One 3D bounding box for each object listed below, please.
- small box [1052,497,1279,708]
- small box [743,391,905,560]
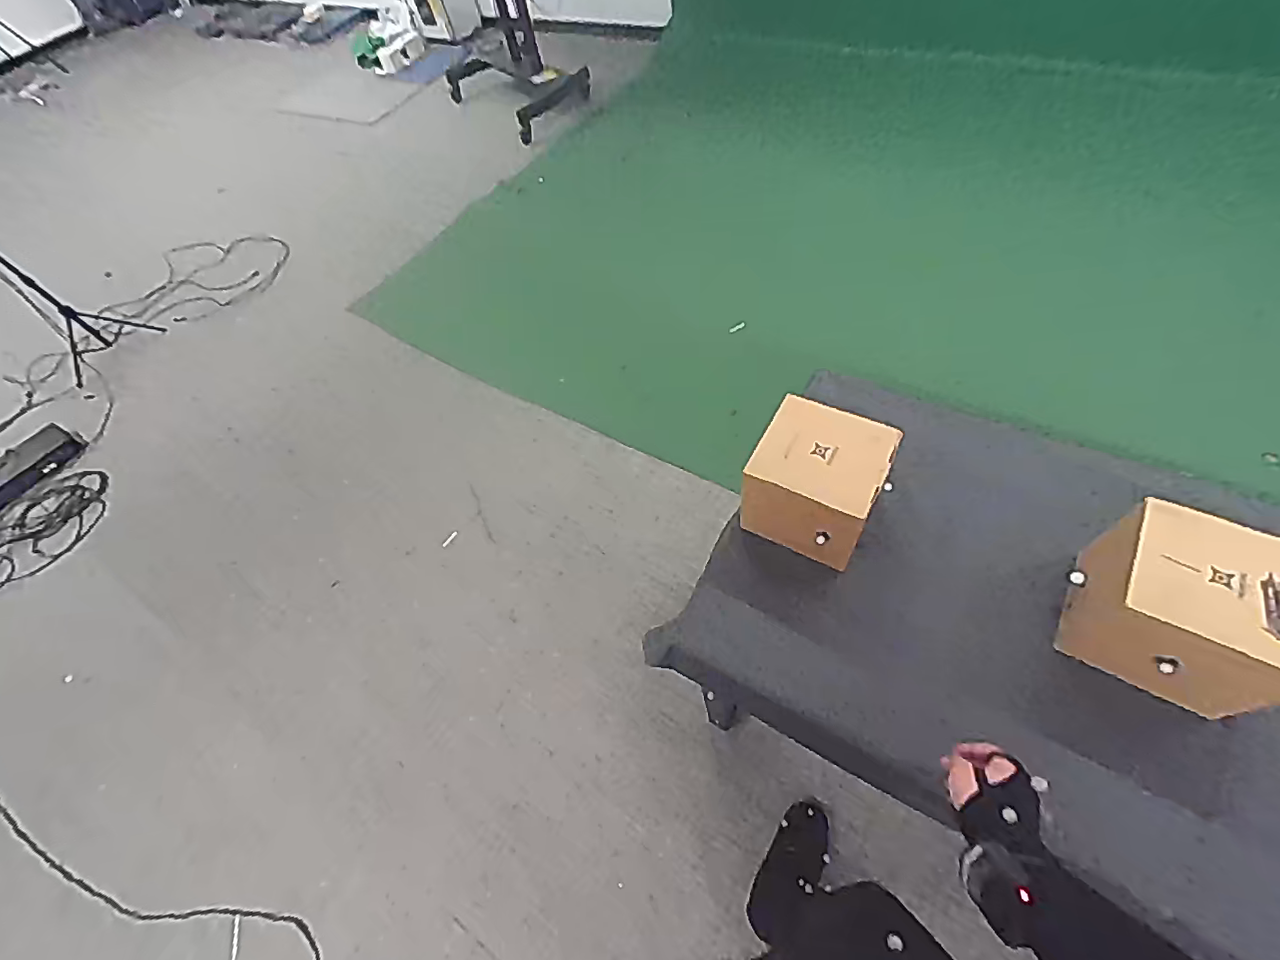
[{"bbox_3d":[0.663,0.157,0.666,0.179,0.176,0.168,26,64,23],"label":"small box"},{"bbox_3d":[0.270,-0.001,0.825,0.179,0.176,0.168,23,62,22],"label":"small box"}]
